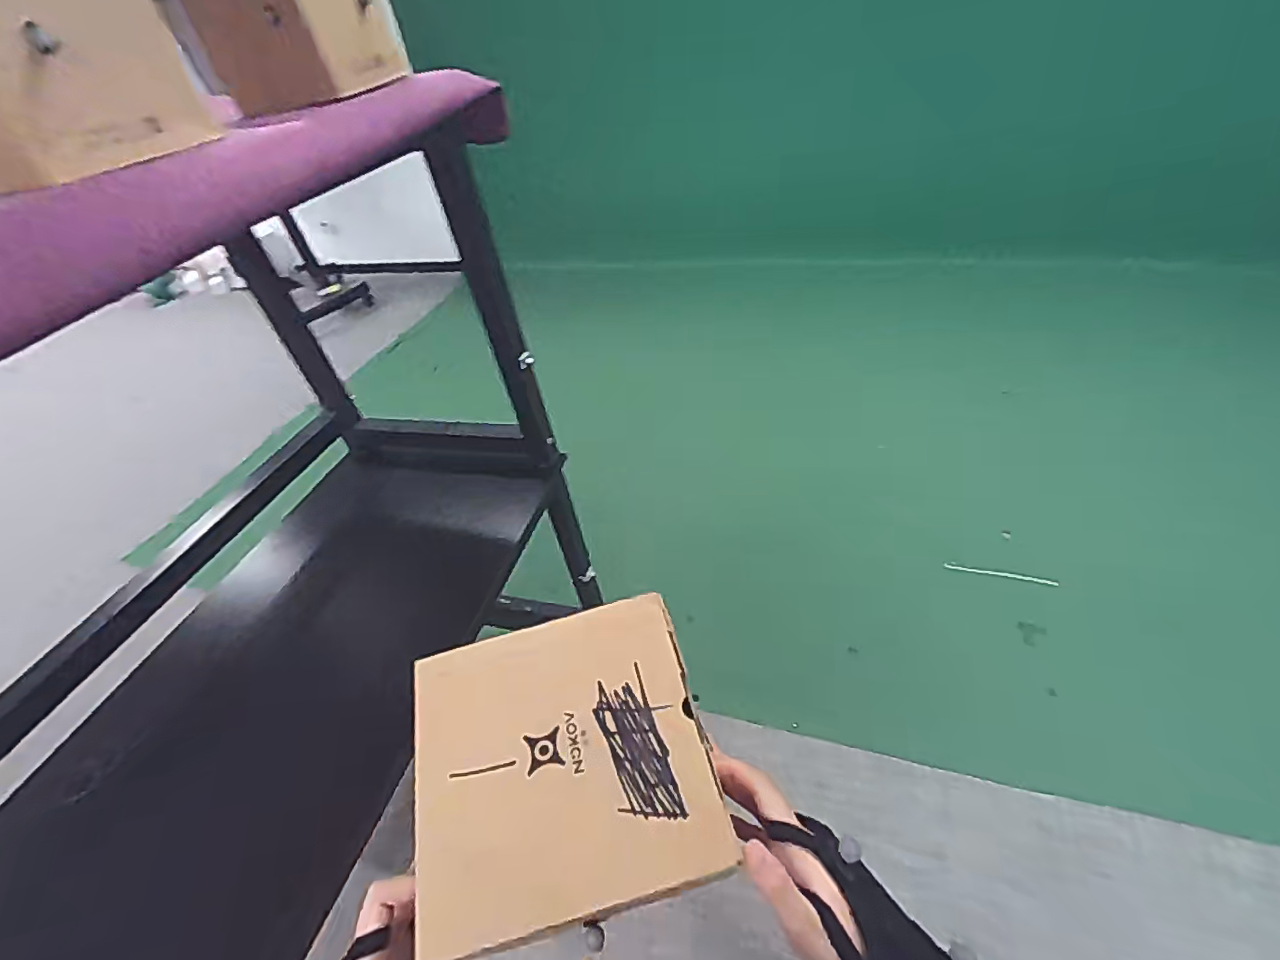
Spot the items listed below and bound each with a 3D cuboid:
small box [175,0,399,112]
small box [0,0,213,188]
[{"bbox_3d":[-0.455,-0.605,0.705,0.179,0.176,0.168,3,44,17],"label":"small box"},{"bbox_3d":[-0.537,-0.371,0.470,0.179,0.176,0.168,8,45,21],"label":"small box"}]
